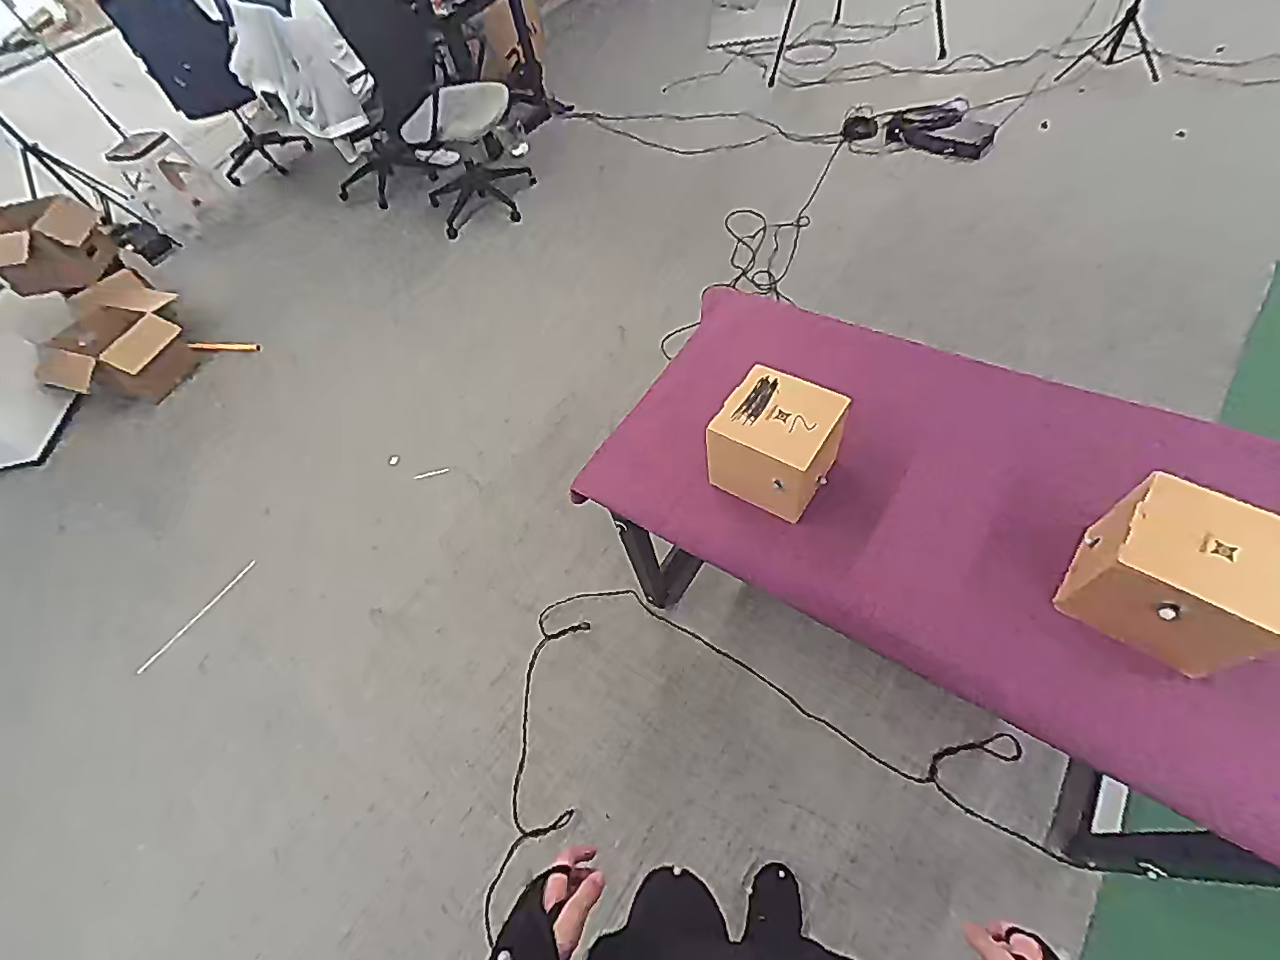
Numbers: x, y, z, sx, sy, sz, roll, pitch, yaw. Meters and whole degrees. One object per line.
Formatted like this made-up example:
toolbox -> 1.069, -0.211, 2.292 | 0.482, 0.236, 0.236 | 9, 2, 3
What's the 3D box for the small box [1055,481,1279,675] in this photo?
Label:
small box -> 0.719, 0.139, 0.730 | 0.179, 0.176, 0.168 | 31, 67, 28
